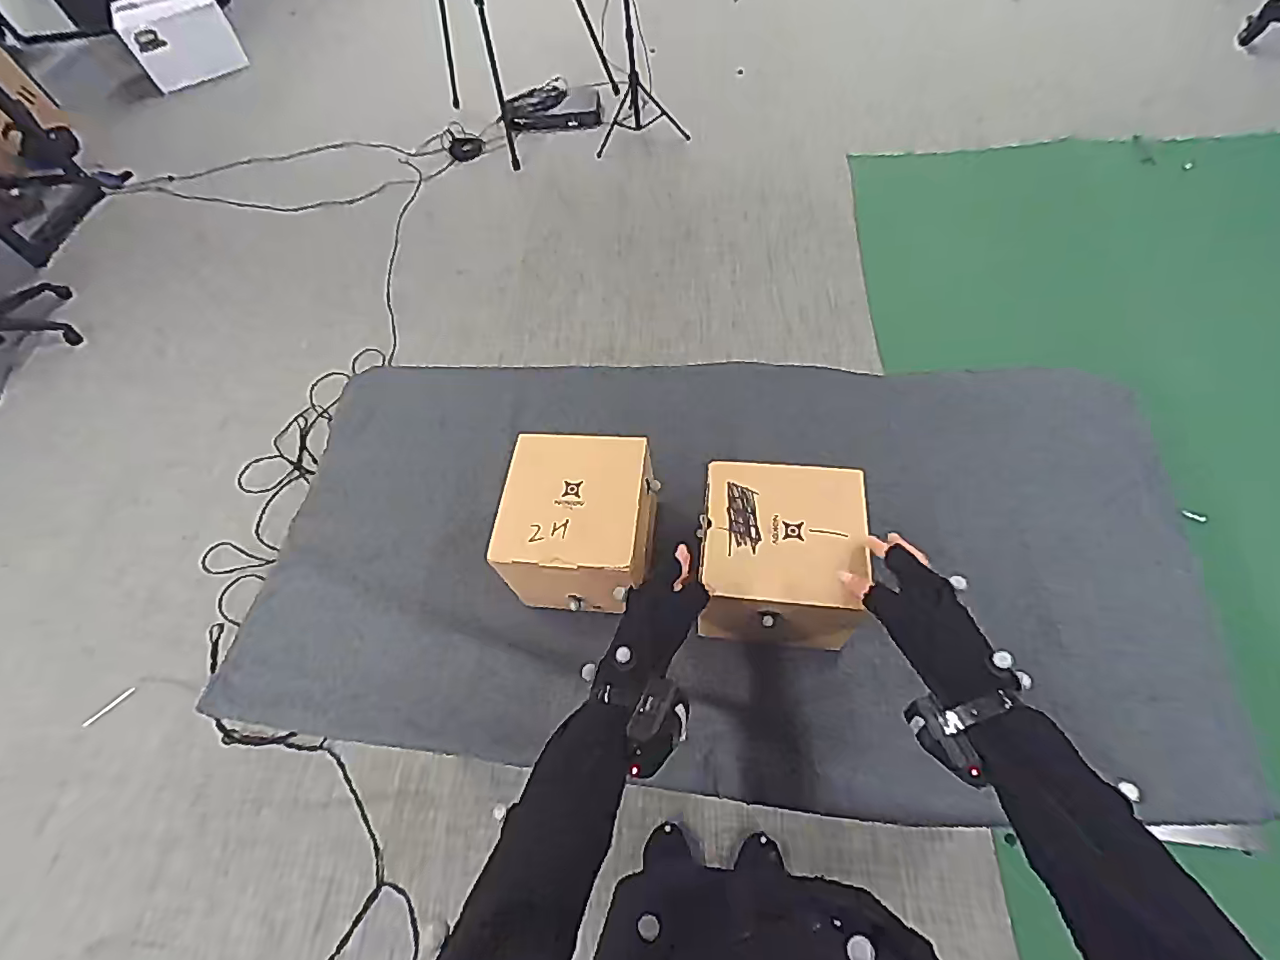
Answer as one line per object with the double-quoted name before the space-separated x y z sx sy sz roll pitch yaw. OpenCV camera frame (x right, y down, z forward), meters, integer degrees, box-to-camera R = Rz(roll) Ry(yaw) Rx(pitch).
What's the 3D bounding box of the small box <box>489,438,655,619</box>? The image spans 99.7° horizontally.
"small box" -0.073 0.065 0.703 0.168 0.176 0.179 2 59 9
